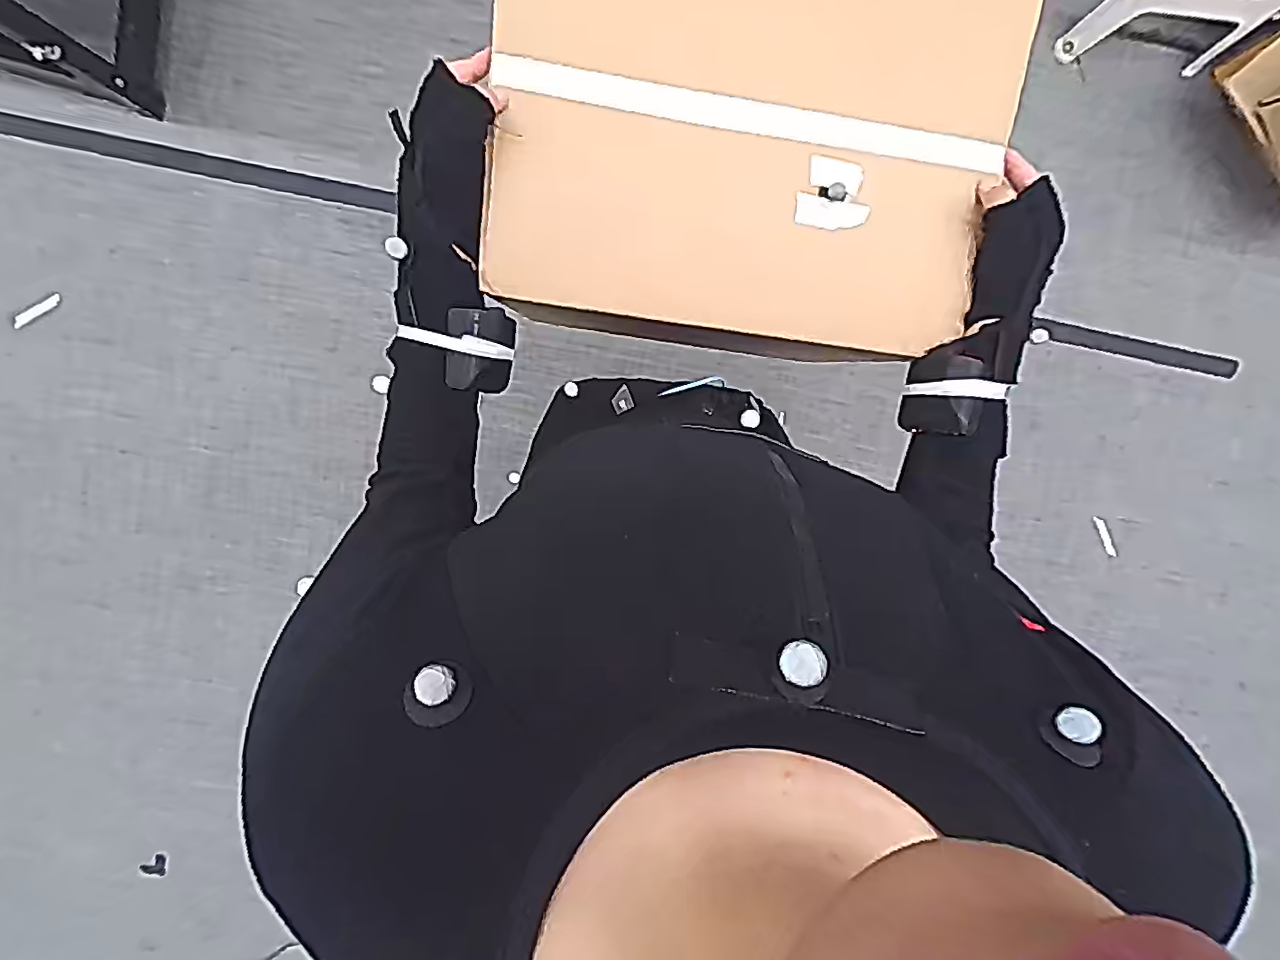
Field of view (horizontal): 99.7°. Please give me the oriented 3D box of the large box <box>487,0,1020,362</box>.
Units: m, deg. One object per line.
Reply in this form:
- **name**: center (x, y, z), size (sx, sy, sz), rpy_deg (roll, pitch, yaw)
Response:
- **large box**: center (0.073, -0.304, 0.573), size (0.408, 0.320, 0.320), rpy_deg (7, 103, -7)
